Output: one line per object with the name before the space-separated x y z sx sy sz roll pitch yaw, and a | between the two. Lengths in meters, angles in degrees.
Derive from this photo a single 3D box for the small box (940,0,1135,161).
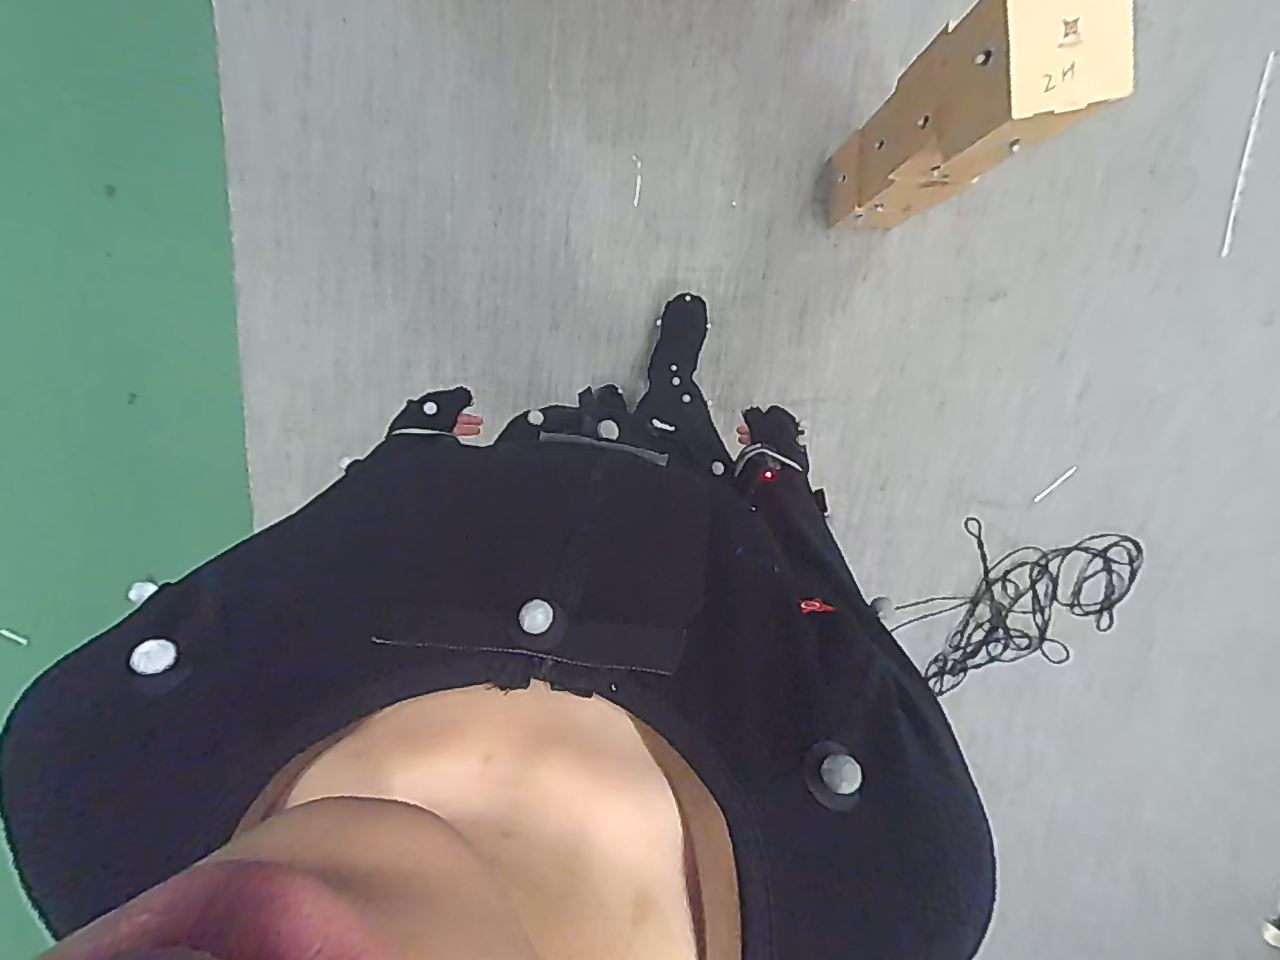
small box | 0.560 -0.599 0.783 0.168 0.176 0.179 -10 102 1

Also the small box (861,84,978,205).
small box | 0.568 -0.676 1.100 0.168 0.176 0.179 0 101 -1

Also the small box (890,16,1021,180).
small box | 0.558 -0.650 0.939 0.168 0.176 0.179 3 102 -1
